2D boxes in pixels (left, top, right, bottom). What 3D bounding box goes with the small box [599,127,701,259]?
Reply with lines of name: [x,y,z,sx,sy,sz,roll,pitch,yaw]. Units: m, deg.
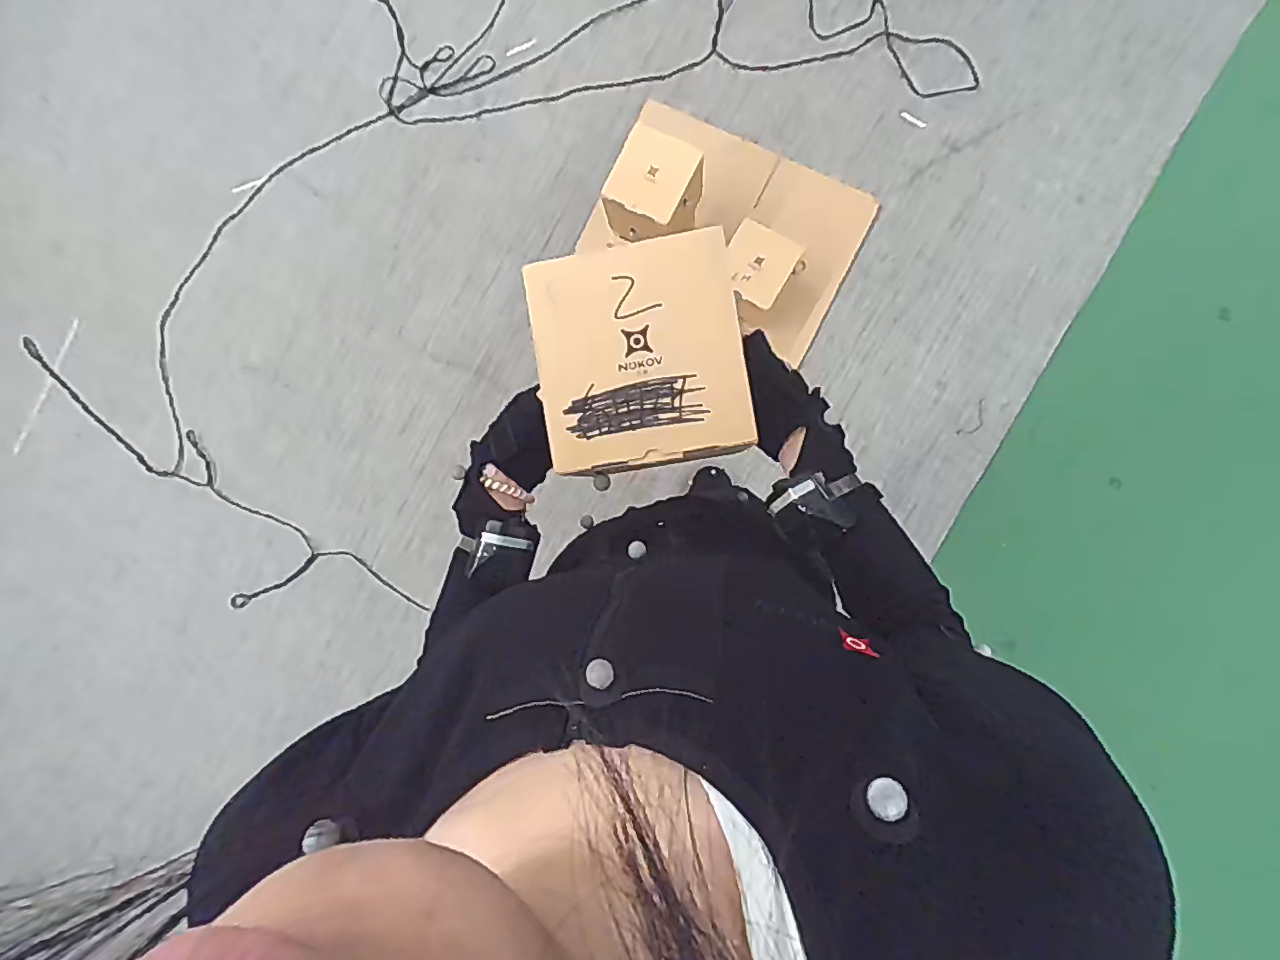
small box: [0.025,-0.646,1.236,0.168,0.176,0.179,27,92,5]

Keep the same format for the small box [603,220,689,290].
small box: [0.024,-0.622,1.399,0.168,0.176,0.179,24,92,5]

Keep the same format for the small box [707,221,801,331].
small box: [0.280,-0.512,1.377,0.168,0.176,0.179,31,93,6]
